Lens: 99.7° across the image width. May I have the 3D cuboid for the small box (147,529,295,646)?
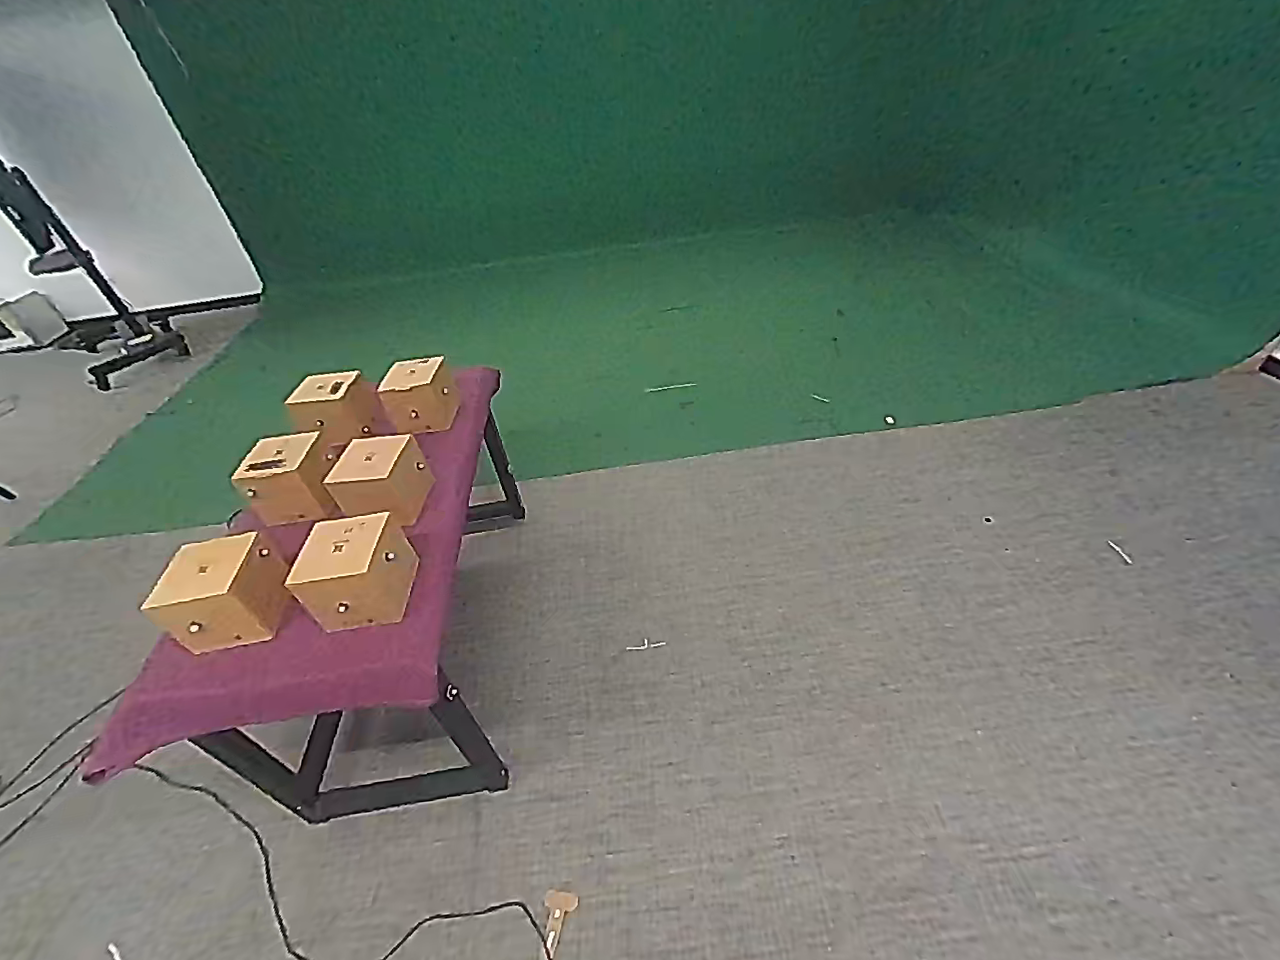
[{"bbox_3d":[-0.878,0.237,1.161,0.168,0.176,0.179,-11,40,-4],"label":"small box"}]

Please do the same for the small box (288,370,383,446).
[{"bbox_3d":[-0.946,-0.225,1.702,0.179,0.176,0.168,-5,41,4],"label":"small box"}]

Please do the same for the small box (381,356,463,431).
[{"bbox_3d":[-0.678,-0.268,1.706,0.168,0.176,0.179,-6,42,4],"label":"small box"}]

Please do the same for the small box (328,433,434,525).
[{"bbox_3d":[-0.655,0.000,1.397,0.168,0.176,0.179,-4,42,6],"label":"small box"}]

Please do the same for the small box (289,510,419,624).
[{"bbox_3d":[-0.597,0.192,1.160,0.168,0.176,0.179,-8,40,1],"label":"small box"}]
